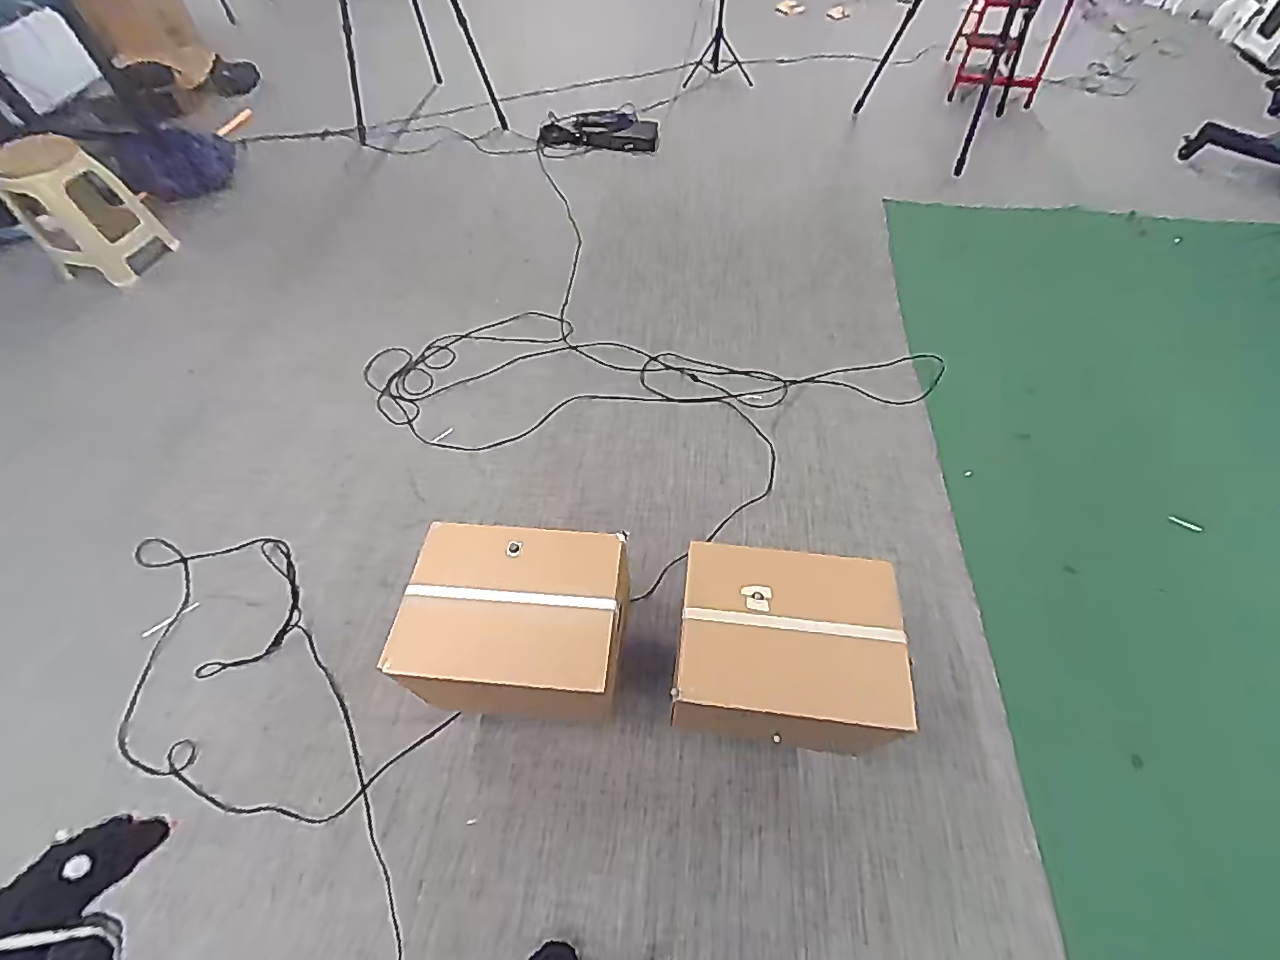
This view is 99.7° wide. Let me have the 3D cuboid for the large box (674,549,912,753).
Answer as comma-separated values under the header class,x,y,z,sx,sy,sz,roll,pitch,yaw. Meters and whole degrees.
class,x,y,z,sx,sy,sz,roll,pitch,yaw
large box,0.287,0.366,1.134,0.408,0.320,0.320,6,56,5
